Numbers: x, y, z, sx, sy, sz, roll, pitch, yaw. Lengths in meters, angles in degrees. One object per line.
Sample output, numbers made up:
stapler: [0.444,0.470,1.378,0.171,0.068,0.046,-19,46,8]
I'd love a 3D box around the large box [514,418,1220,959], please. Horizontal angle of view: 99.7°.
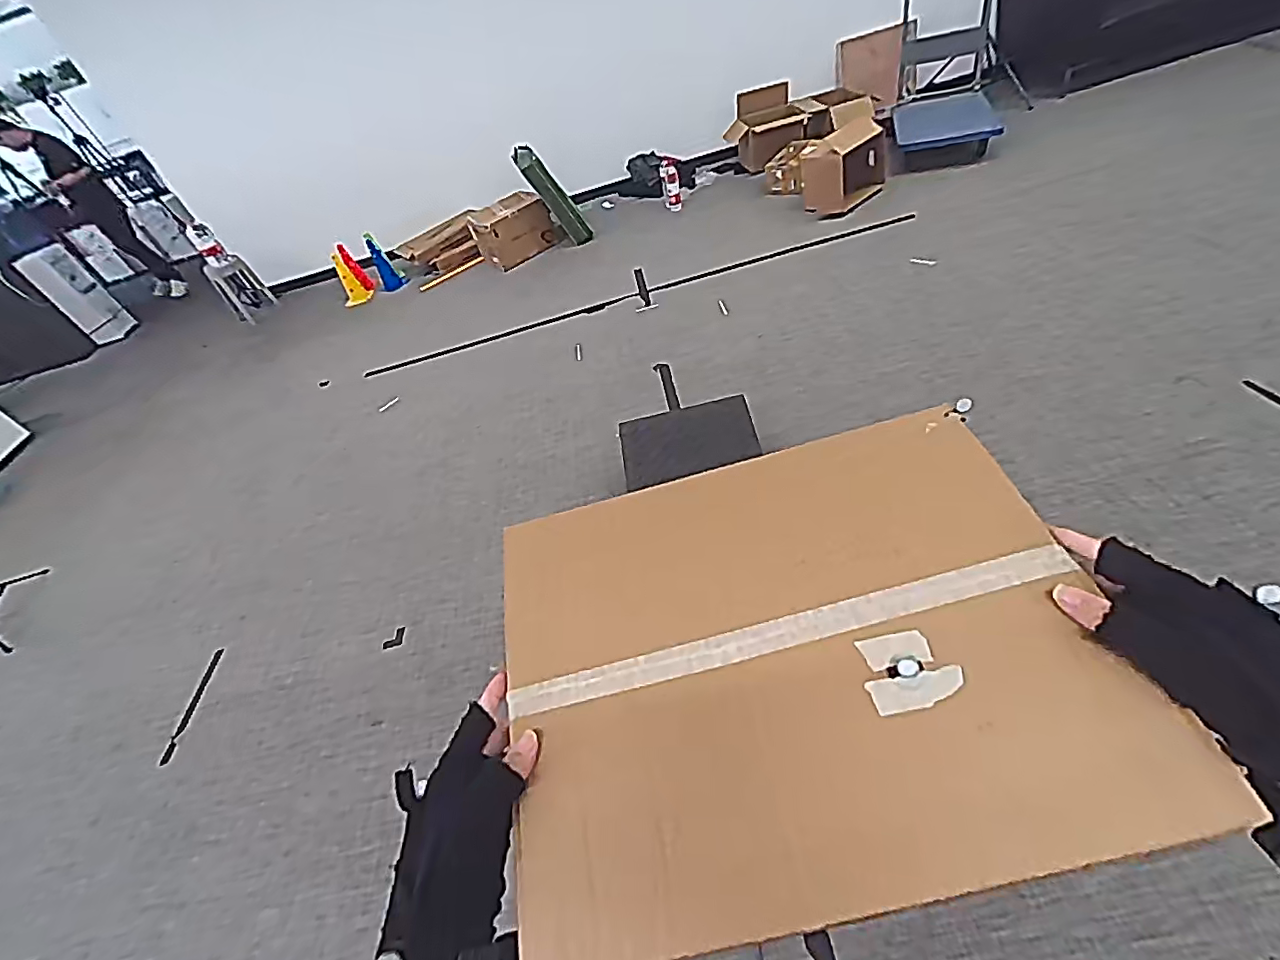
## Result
large box: [0.132,0.202,0.512,0.408,0.320,0.320,-16,53,2]
